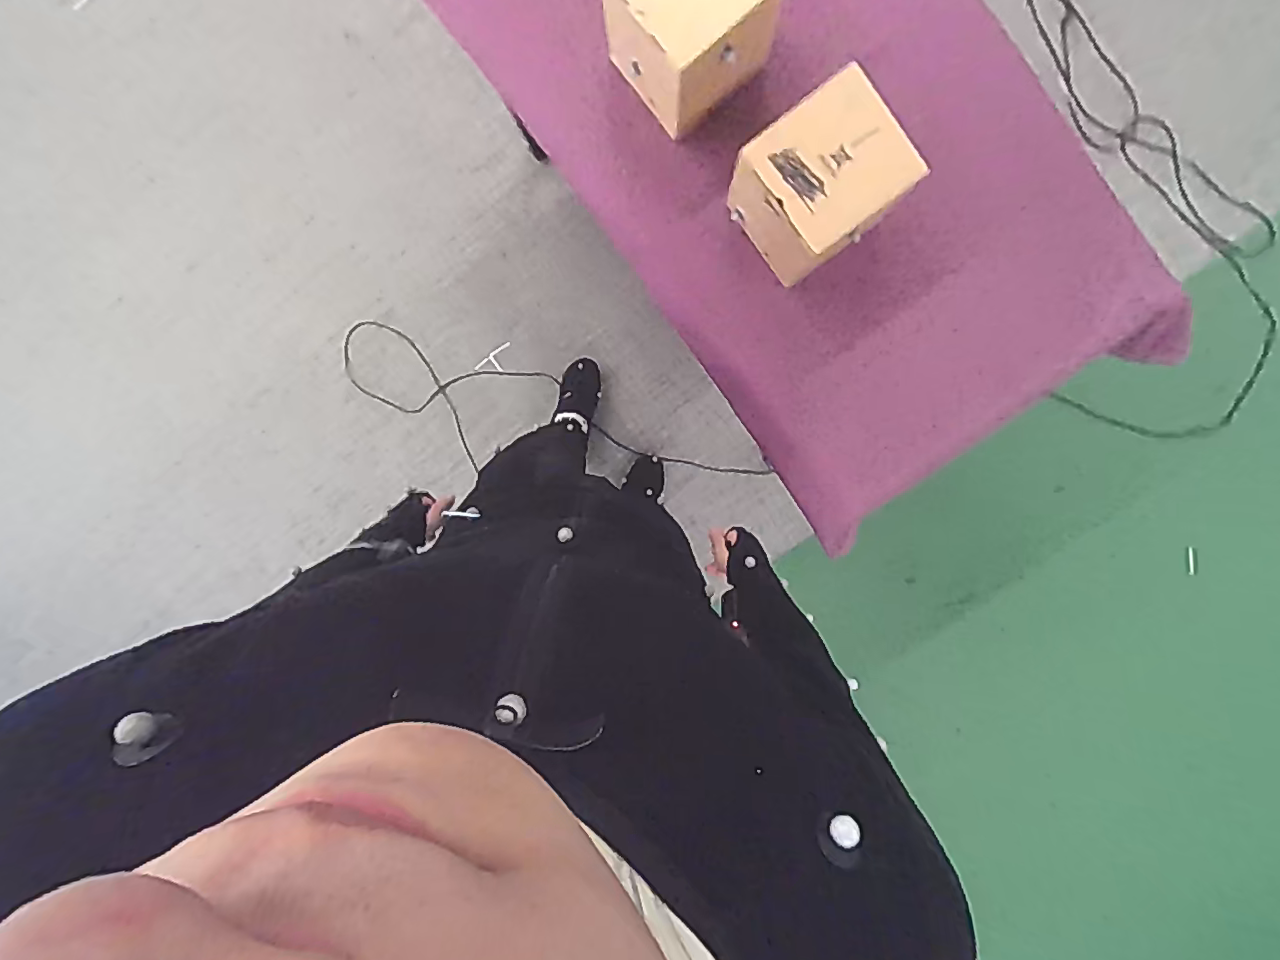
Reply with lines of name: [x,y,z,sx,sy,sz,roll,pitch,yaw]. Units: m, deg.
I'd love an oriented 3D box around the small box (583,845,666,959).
small box: [-0.035,1.172,1.500,0.168,0.176,0.179,-29,94,5]

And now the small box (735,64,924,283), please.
small box: [0.247,-0.409,0.760,0.179,0.176,0.168,-37,92,7]

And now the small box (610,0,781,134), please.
small box: [0.069,-0.636,0.746,0.179,0.176,0.168,-39,93,7]
